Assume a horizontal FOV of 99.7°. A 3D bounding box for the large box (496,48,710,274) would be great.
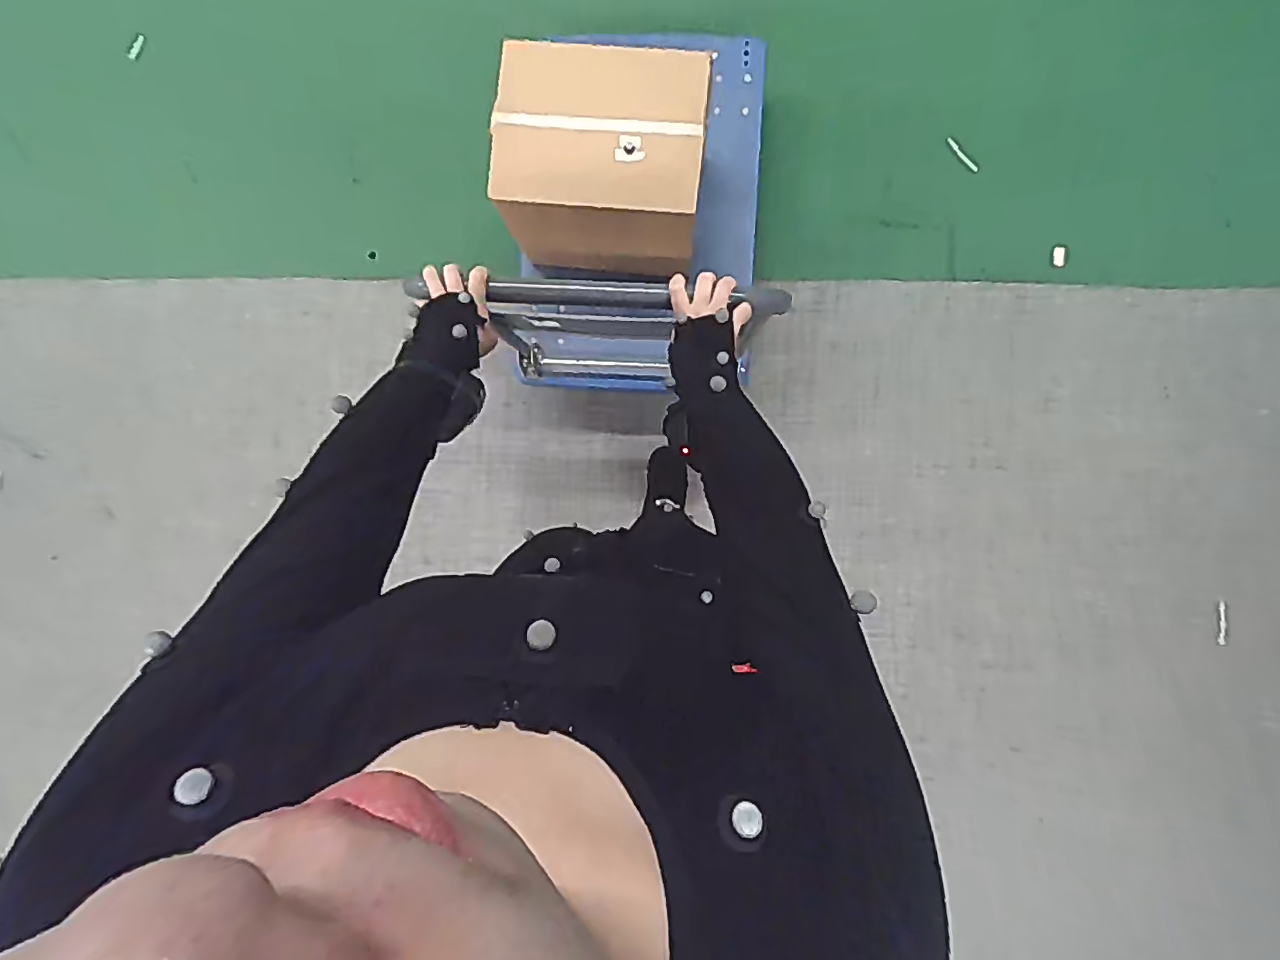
[{"bbox_3d":[-0.069,-0.678,1.199,0.408,0.320,0.320,6,89,2],"label":"large box"}]
